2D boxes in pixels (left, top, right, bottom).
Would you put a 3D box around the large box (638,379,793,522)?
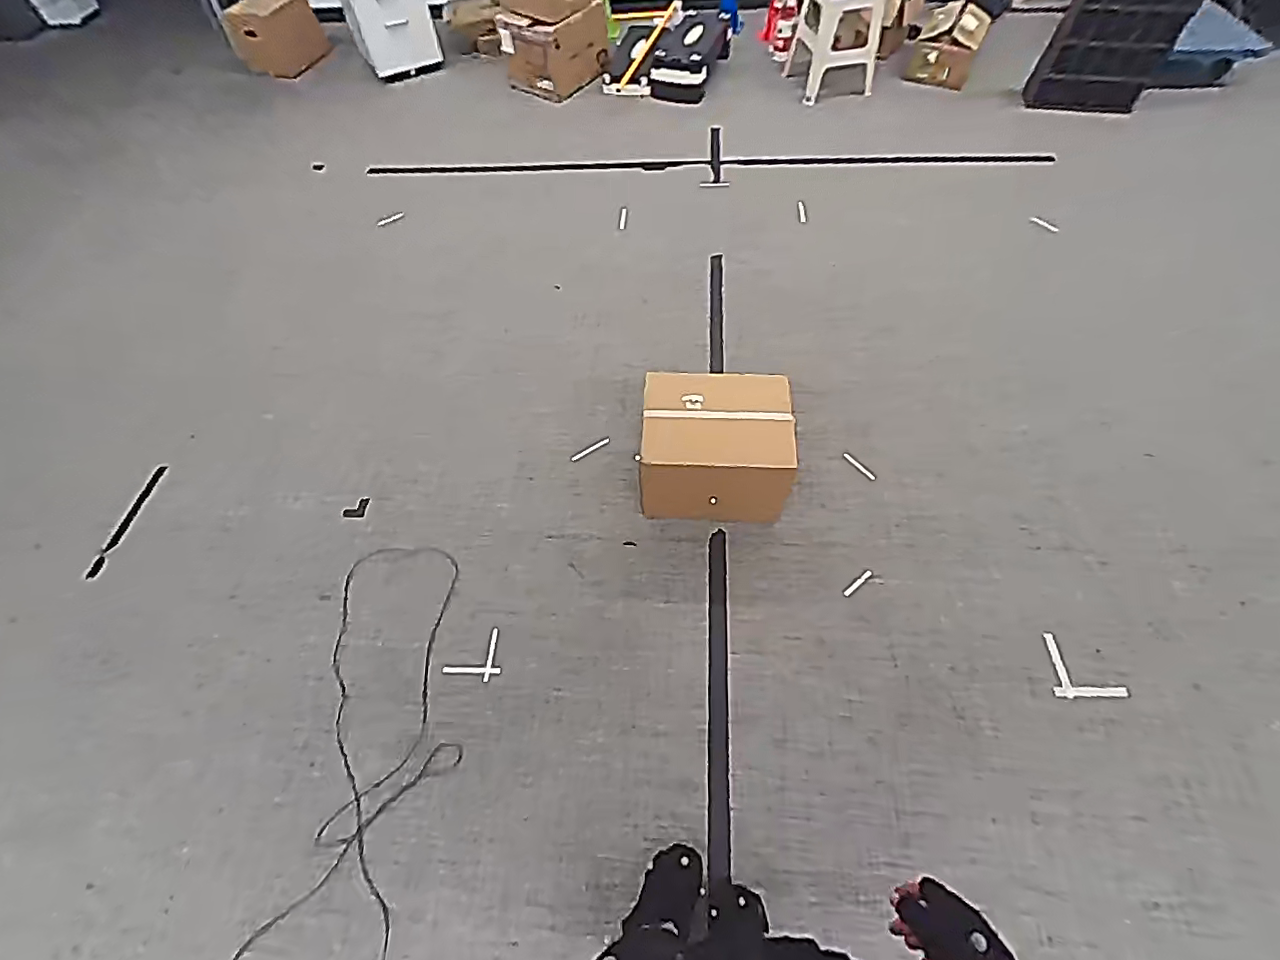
[{"bbox_3d":[0.210,-0.079,1.593,0.408,0.320,0.320,1,58,4],"label":"large box"}]
